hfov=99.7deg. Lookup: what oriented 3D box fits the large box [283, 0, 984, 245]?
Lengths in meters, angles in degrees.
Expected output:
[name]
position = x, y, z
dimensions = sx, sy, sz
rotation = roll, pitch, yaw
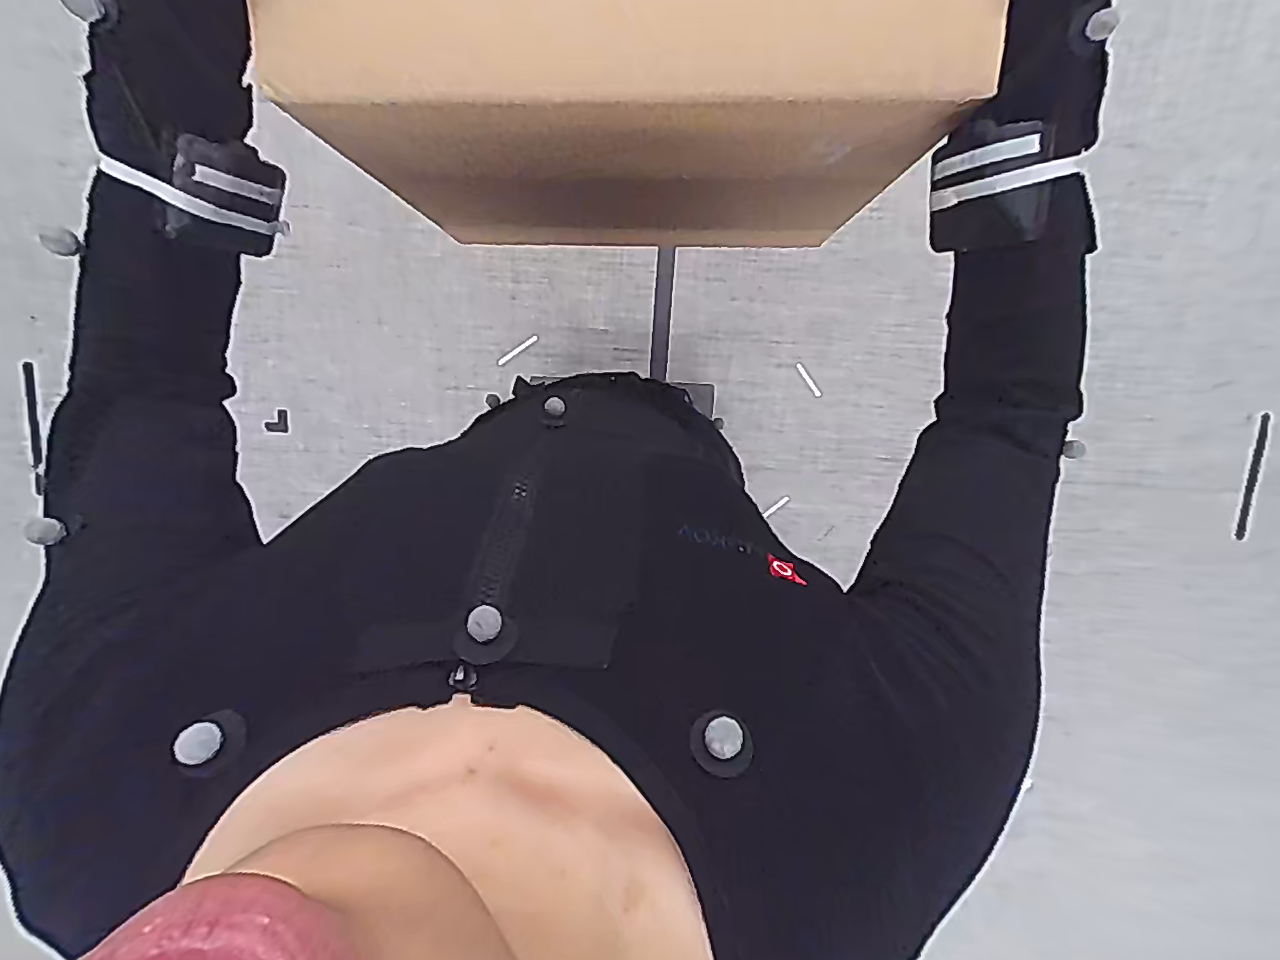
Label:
[large box]
position = -0.005, -0.395, 0.436
dimensions = 0.408, 0.320, 0.320
rotation = 0, 100, 1
